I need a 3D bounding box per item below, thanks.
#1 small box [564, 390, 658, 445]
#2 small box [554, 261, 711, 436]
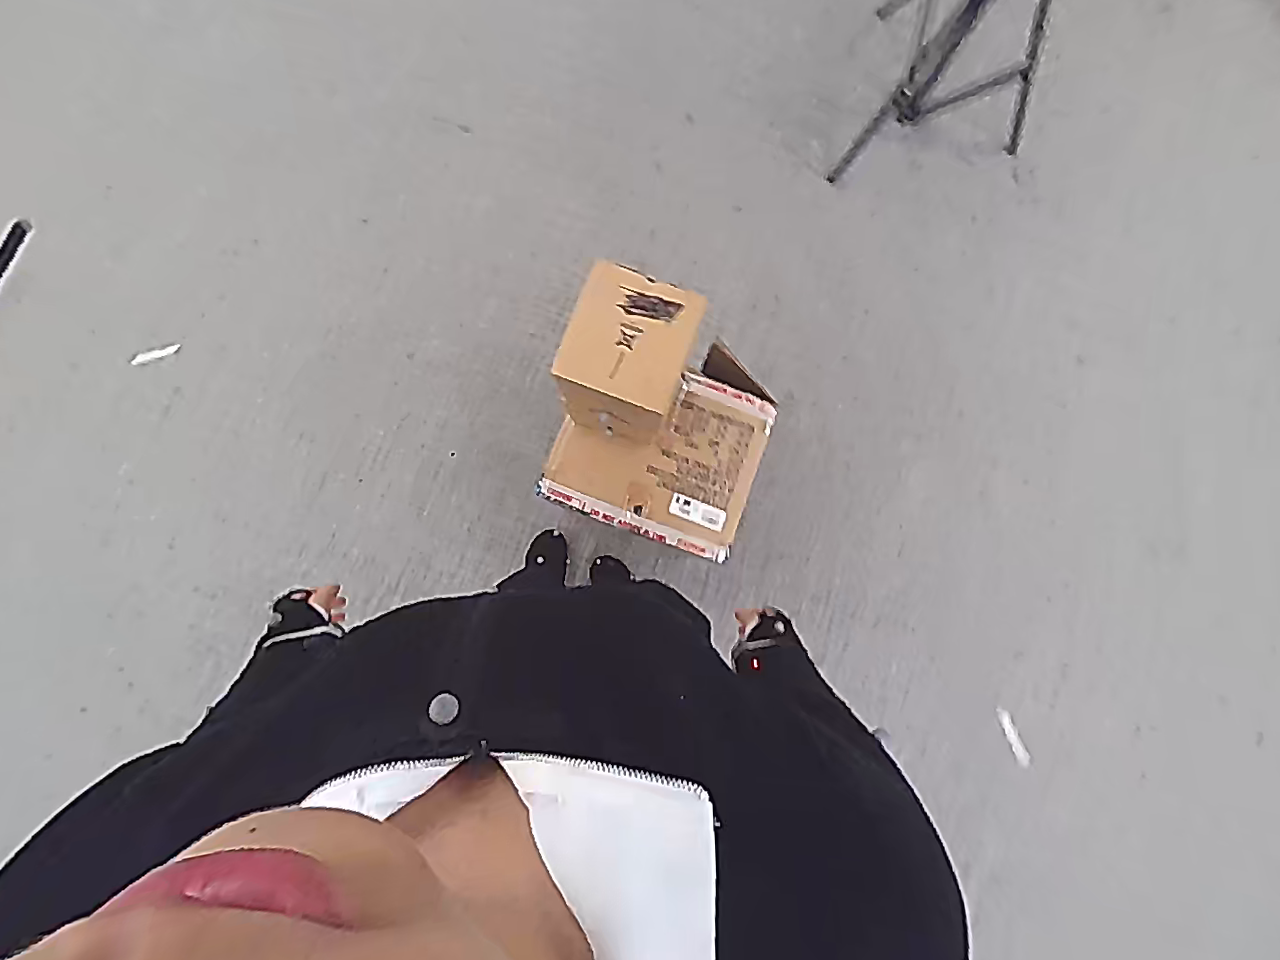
[{"bbox_3d":[-0.023,-0.176,0.969,0.168,0.176,0.179,18,85,2],"label":"small box"},{"bbox_3d":[-0.010,-0.183,0.804,0.168,0.176,0.179,21,86,3],"label":"small box"}]
